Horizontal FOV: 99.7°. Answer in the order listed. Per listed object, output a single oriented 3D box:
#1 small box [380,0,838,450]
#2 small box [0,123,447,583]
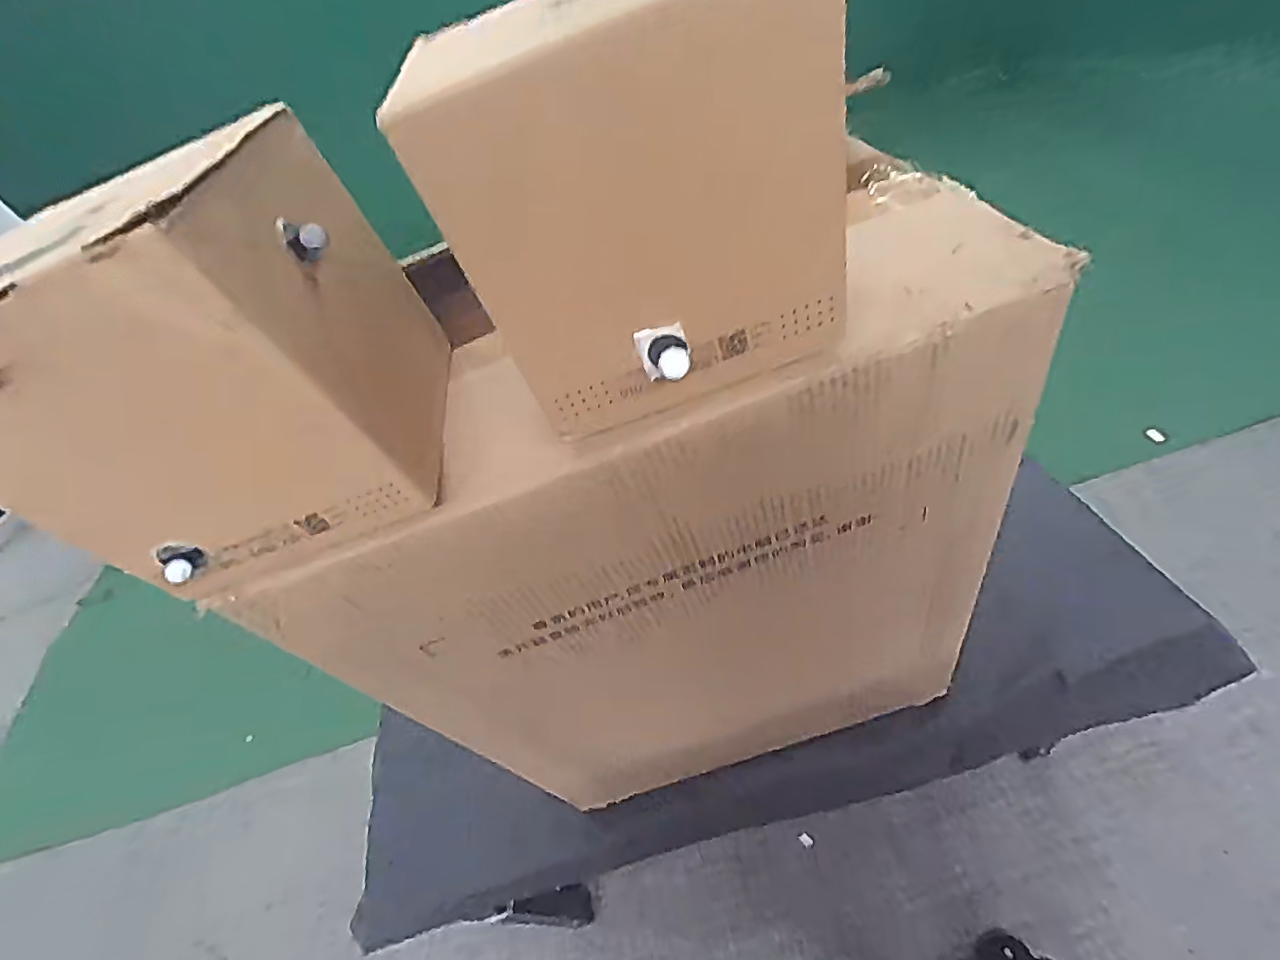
[{"bbox_3d":[-0.008,-0.148,0.296,0.168,0.176,0.179,-21,47,4],"label":"small box"},{"bbox_3d":[-0.231,-0.061,0.311,0.168,0.176,0.179,-20,45,6],"label":"small box"}]
